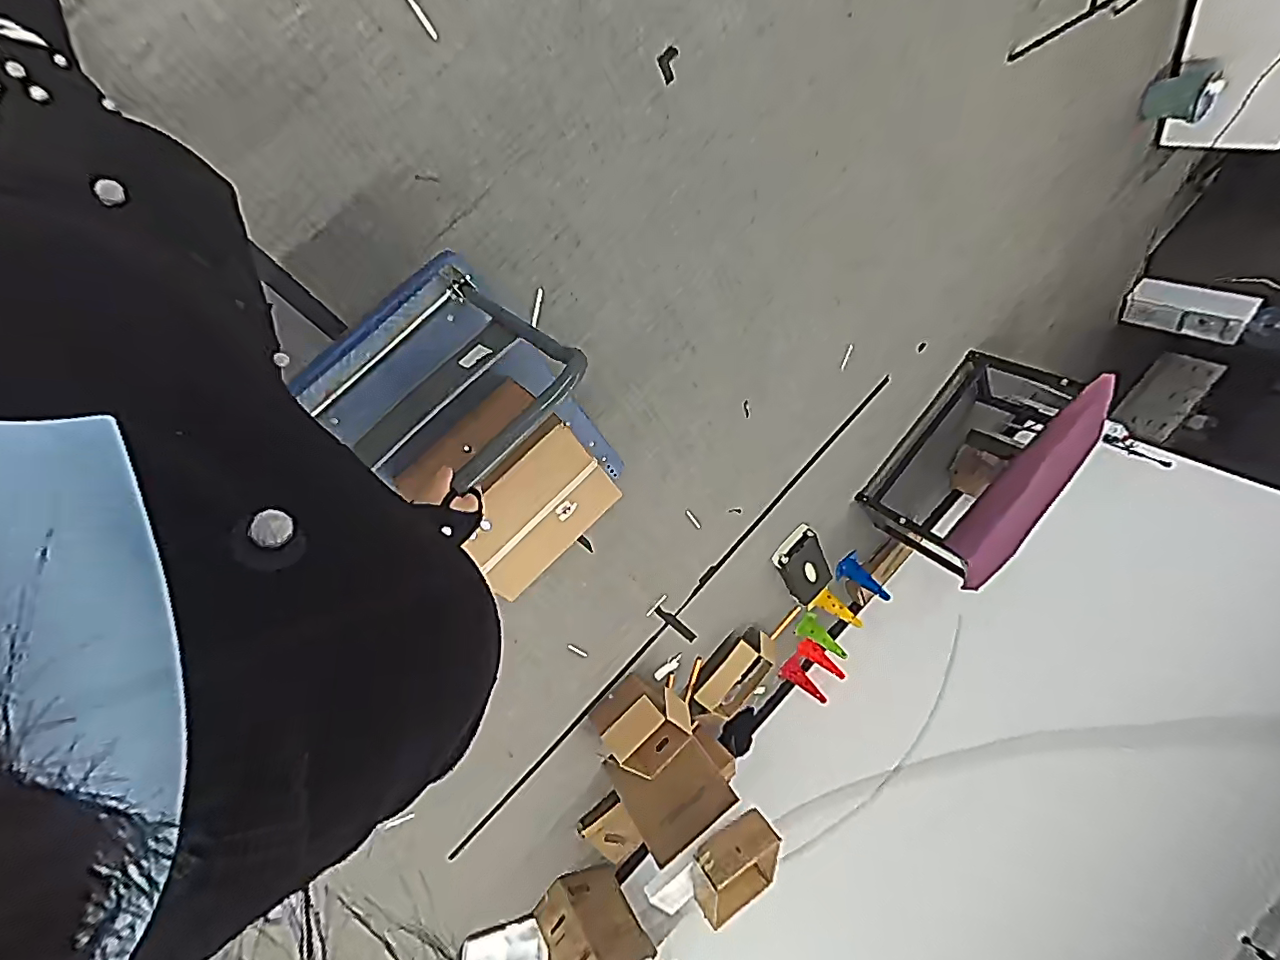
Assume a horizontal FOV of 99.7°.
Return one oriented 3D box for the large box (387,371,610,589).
[{"bbox_3d":[-0.363,-0.005,1.398,0.408,0.320,0.320,-45,138,-8],"label":"large box"}]
